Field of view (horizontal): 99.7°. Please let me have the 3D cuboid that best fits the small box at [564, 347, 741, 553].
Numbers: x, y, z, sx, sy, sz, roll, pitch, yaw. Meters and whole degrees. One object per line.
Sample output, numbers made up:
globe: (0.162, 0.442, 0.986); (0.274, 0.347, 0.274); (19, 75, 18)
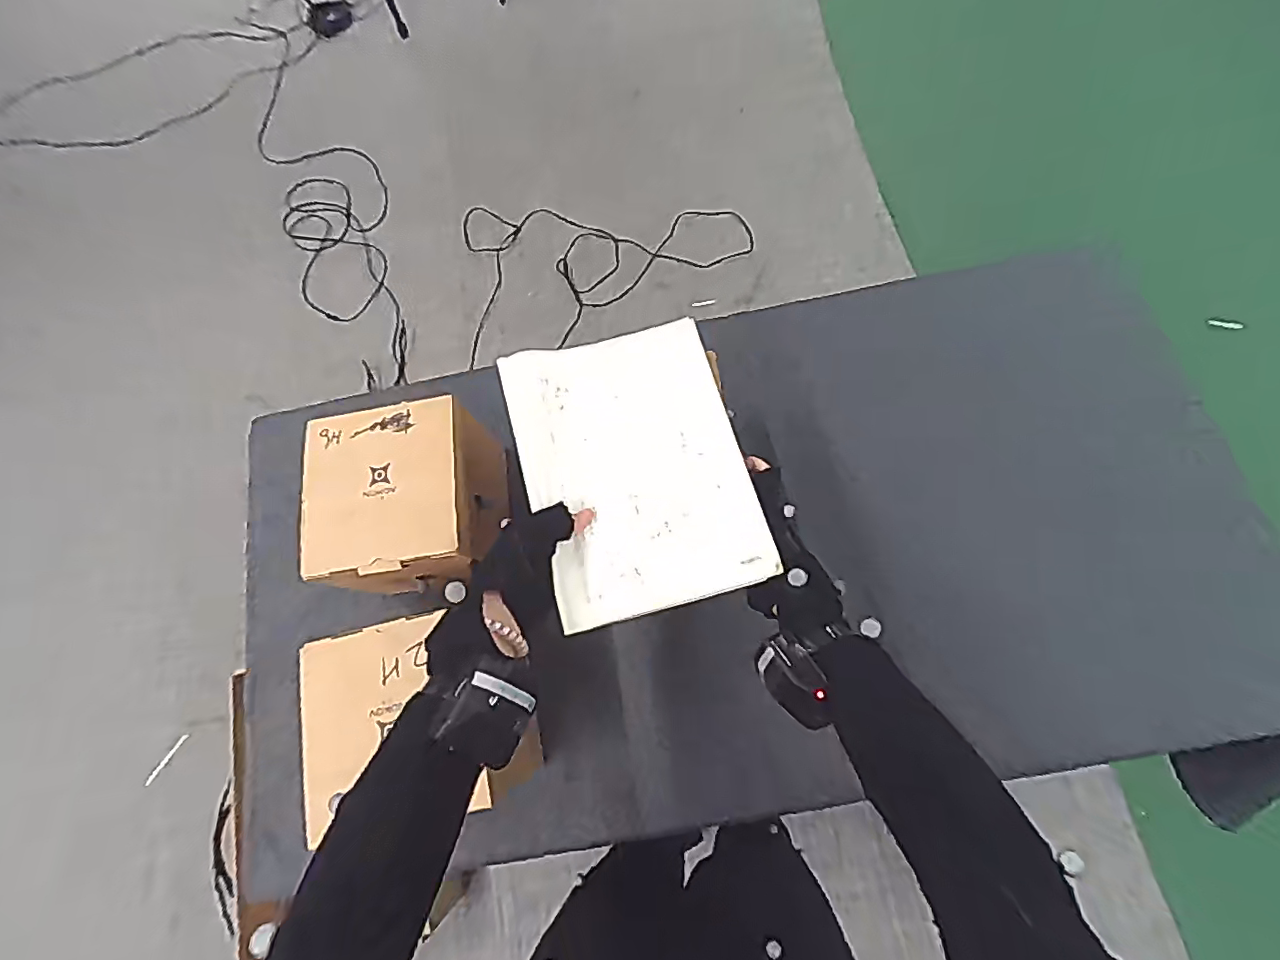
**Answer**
small box: (0.016, -0.024, 0.618); (0.168, 0.176, 0.179); (-8, 73, 5)
